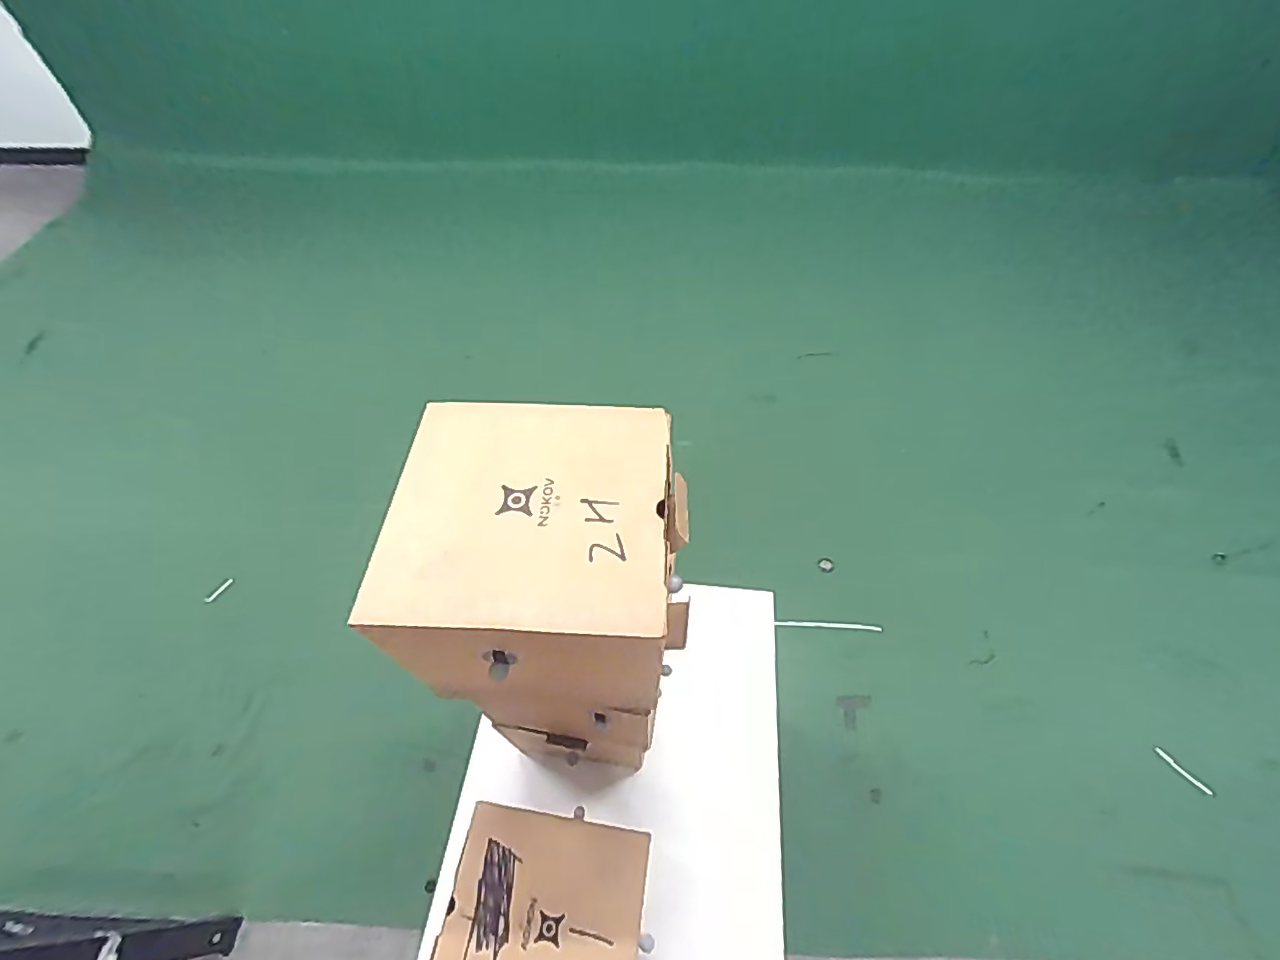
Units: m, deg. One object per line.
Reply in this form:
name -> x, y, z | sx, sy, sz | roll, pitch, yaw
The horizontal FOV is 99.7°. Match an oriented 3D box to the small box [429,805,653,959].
small box -> -0.086, 0.434, 0.525 | 0.179, 0.176, 0.168 | 7, 54, 5

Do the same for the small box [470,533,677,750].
small box -> -0.064, 0.152, 0.532 | 0.179, 0.176, 0.168 | 8, 54, 5

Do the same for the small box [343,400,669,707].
small box -> -0.070, 0.060, 0.396 | 0.179, 0.176, 0.168 | 2, 55, 1
